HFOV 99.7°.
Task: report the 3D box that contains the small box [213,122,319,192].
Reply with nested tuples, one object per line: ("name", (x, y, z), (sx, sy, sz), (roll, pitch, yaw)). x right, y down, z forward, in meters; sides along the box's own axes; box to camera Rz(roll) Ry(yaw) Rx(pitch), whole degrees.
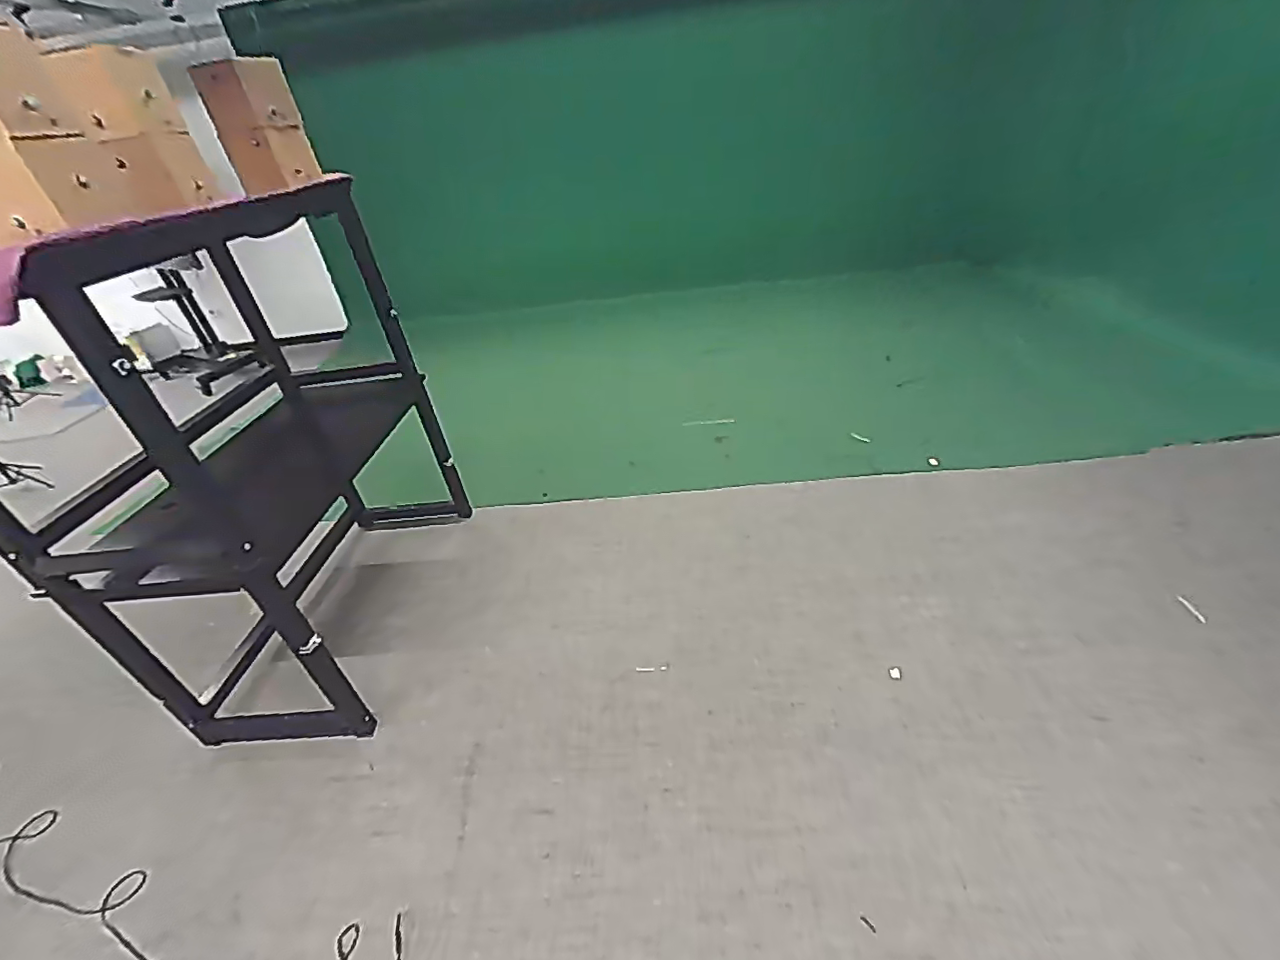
("small box", (-1.152, -1.003, 1.679), (0.179, 0.176, 0.168), (2, 36, 13))

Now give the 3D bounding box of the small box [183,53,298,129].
("small box", (-1.162, -1.135, 1.585), (0.179, 0.176, 0.168), (5, 38, 15))

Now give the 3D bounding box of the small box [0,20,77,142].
("small box", (-1.188, -0.697, 0.952), (0.179, 0.176, 0.168), (-8, 35, 2))

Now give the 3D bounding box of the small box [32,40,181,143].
("small box", (-1.235, -0.896, 1.252), (0.179, 0.176, 0.168), (-6, 34, 3))
